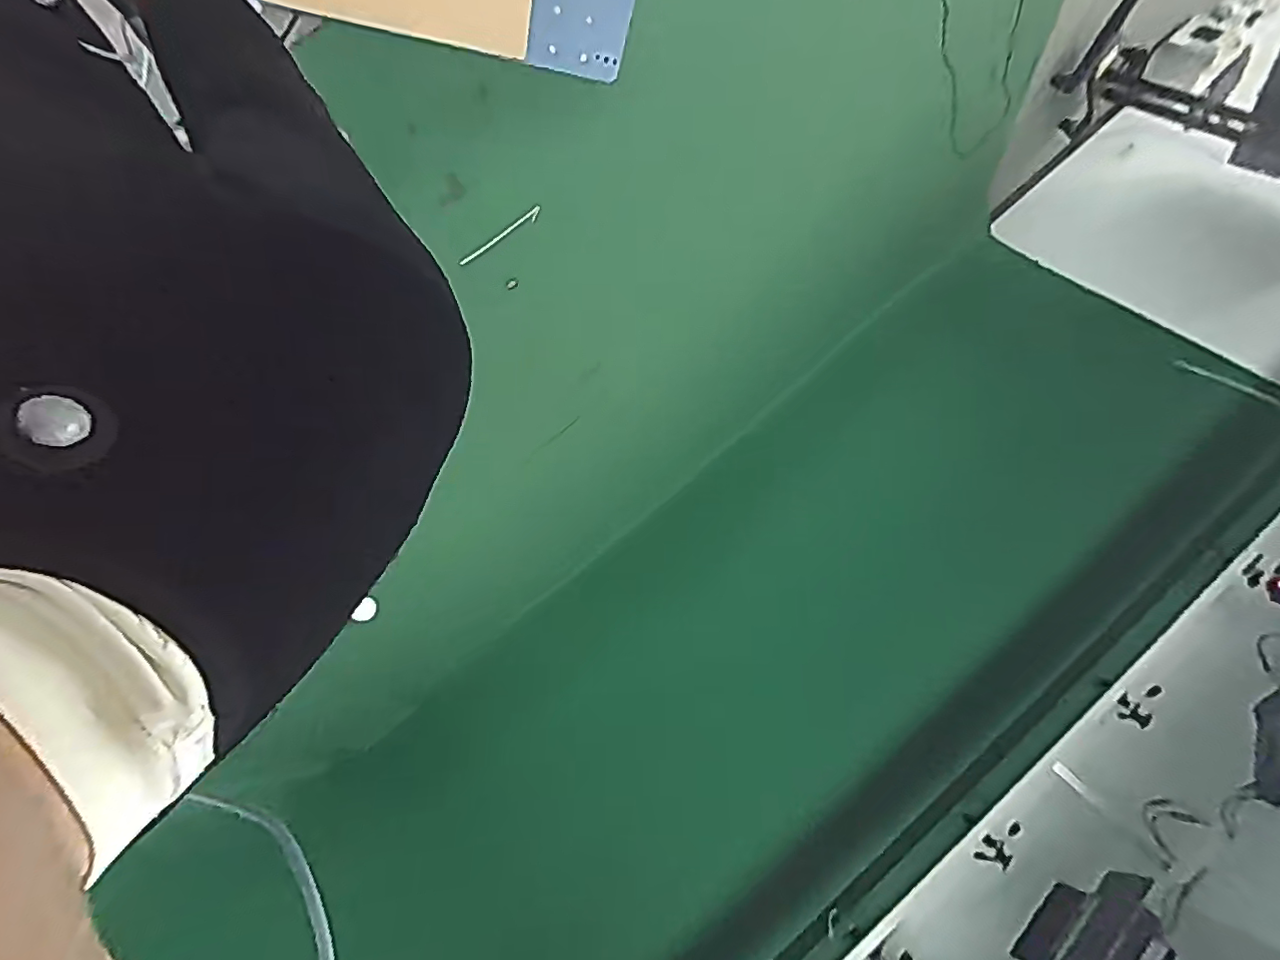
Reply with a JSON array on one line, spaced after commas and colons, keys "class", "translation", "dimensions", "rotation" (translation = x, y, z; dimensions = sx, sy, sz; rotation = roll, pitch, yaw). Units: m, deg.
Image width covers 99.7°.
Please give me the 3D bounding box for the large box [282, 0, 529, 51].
[{"class": "large box", "translation": [-0.409, -0.936, 0.845], "dimensions": [0.408, 0.320, 0.320], "rotation": [-13, 142, -32]}]
